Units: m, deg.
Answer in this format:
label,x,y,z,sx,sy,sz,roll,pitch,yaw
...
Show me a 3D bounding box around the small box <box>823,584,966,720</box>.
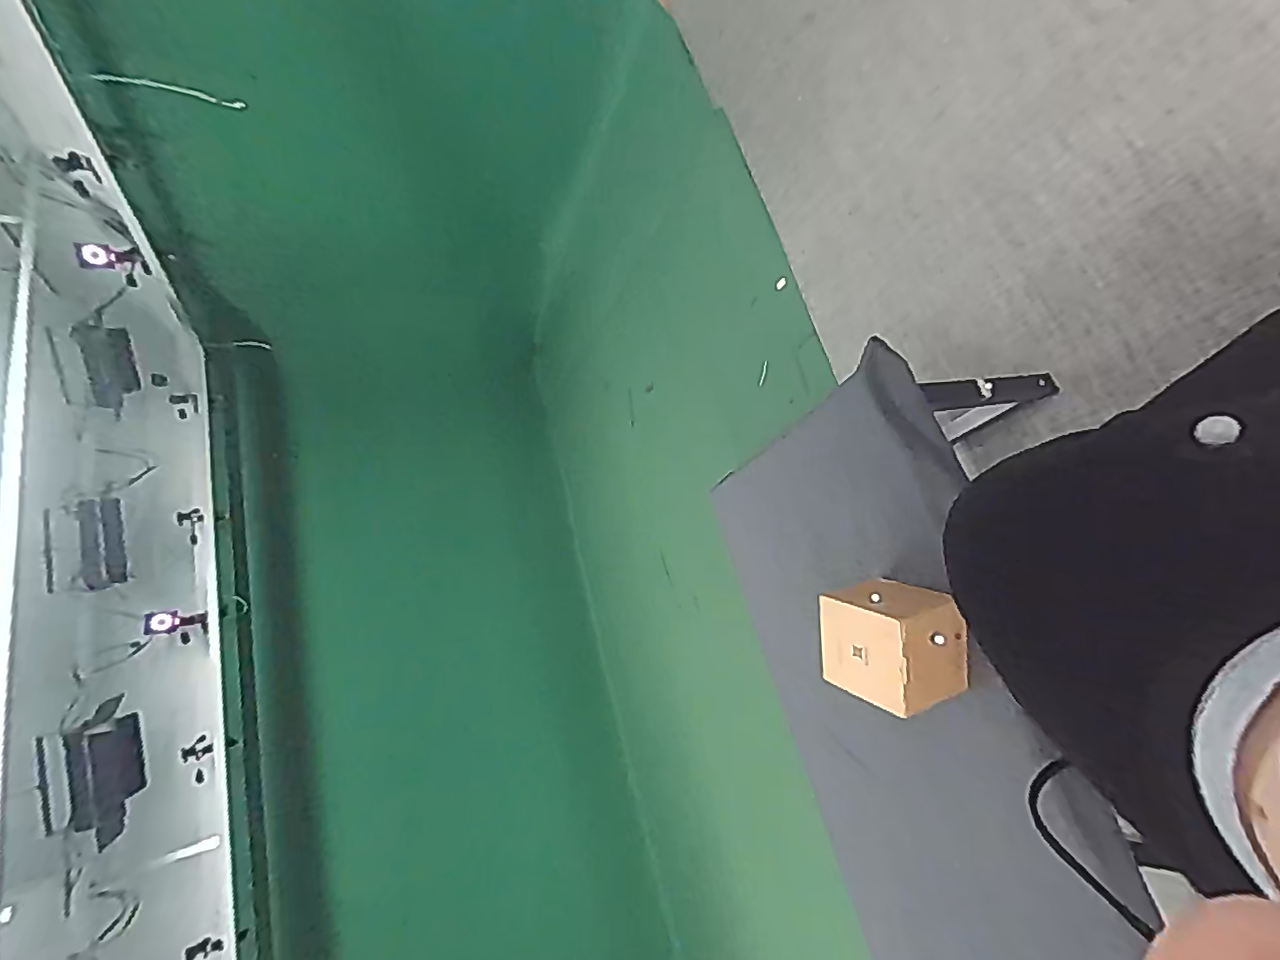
label,x,y,z,sx,sy,sz,roll,pitch,yaw
small box,0.456,0.293,0.969,0.179,0.176,0.168,6,101,64
